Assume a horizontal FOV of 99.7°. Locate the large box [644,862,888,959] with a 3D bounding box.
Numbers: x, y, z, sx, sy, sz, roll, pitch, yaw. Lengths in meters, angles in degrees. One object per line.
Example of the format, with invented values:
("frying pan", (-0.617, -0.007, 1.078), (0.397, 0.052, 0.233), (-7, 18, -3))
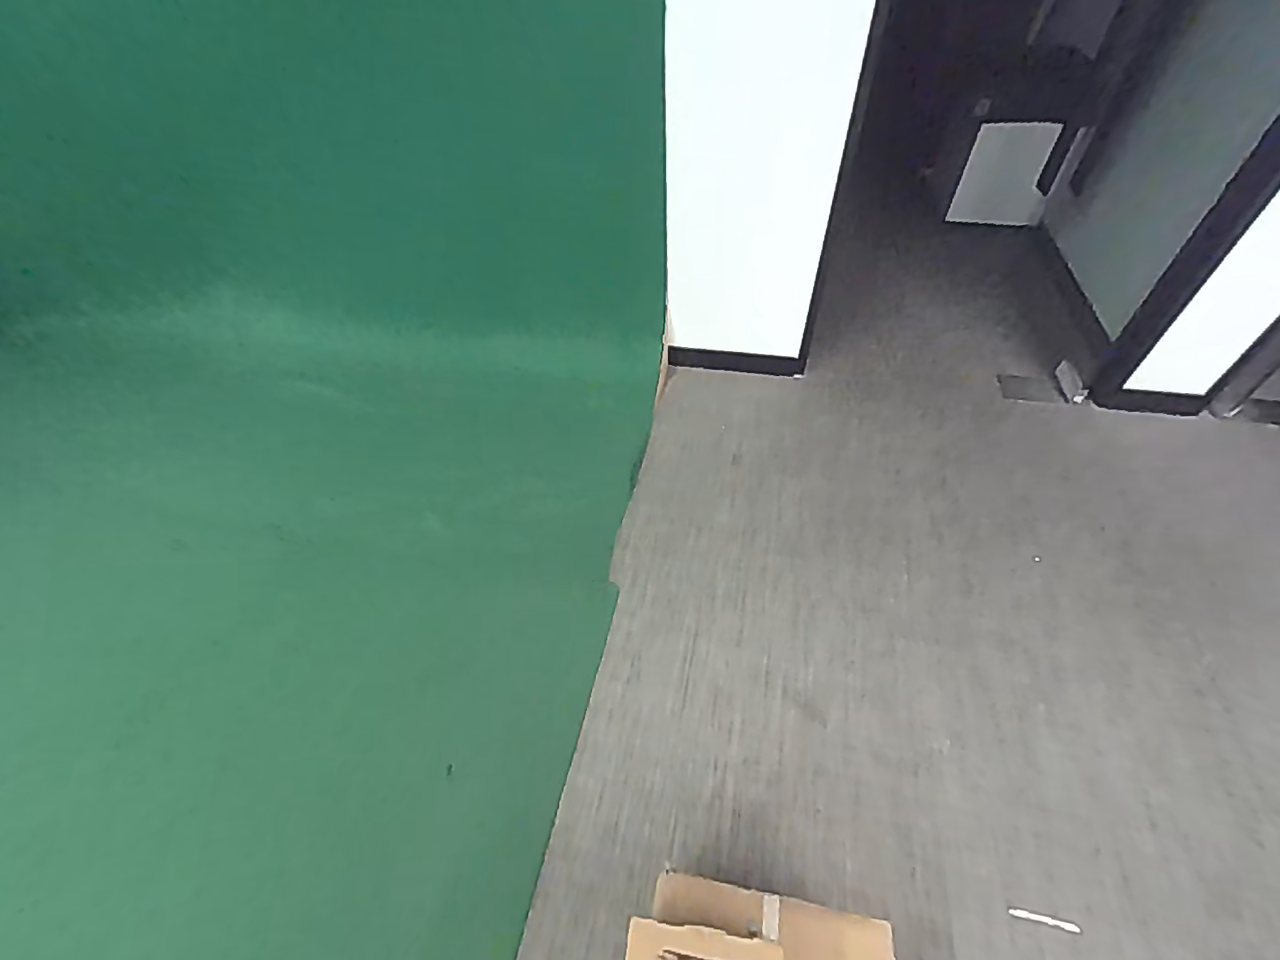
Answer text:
("large box", (0.152, 0.807, 0.728), (0.320, 0.320, 0.408), (6, 49, 10))
